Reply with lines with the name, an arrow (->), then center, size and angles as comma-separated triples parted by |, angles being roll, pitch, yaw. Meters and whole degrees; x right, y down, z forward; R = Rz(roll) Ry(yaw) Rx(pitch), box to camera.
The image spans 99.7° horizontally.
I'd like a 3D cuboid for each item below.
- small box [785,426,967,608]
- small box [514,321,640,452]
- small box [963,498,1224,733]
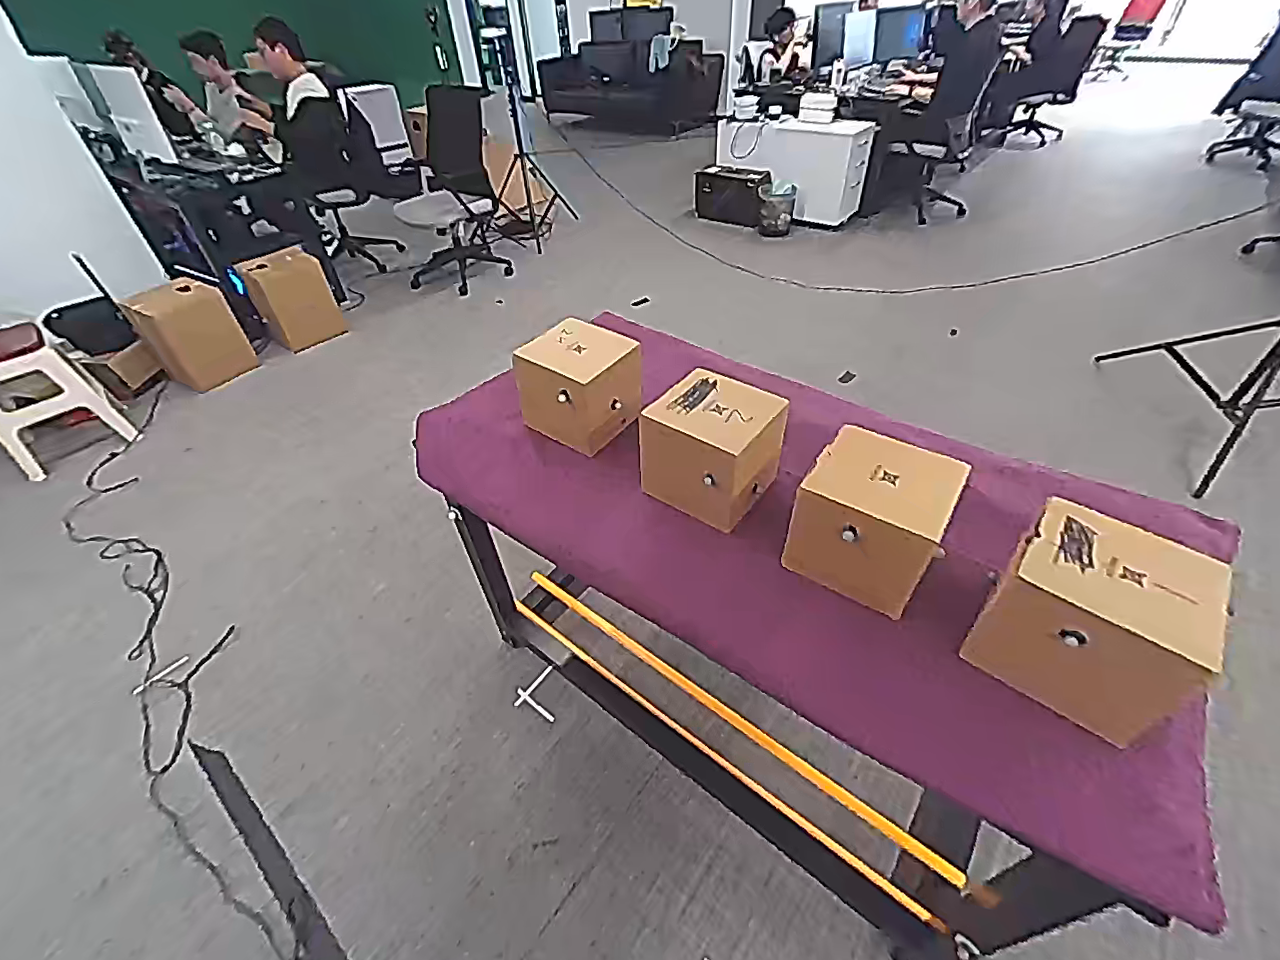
small box -> 0.327, 0.055, 0.773 | 0.179, 0.176, 0.168 | 24, 49, 28
small box -> -0.114, -0.178, 1.047 | 0.179, 0.176, 0.168 | 26, 50, 25
small box -> 0.521, 0.158, 0.642 | 0.179, 0.176, 0.168 | 30, 51, 31
